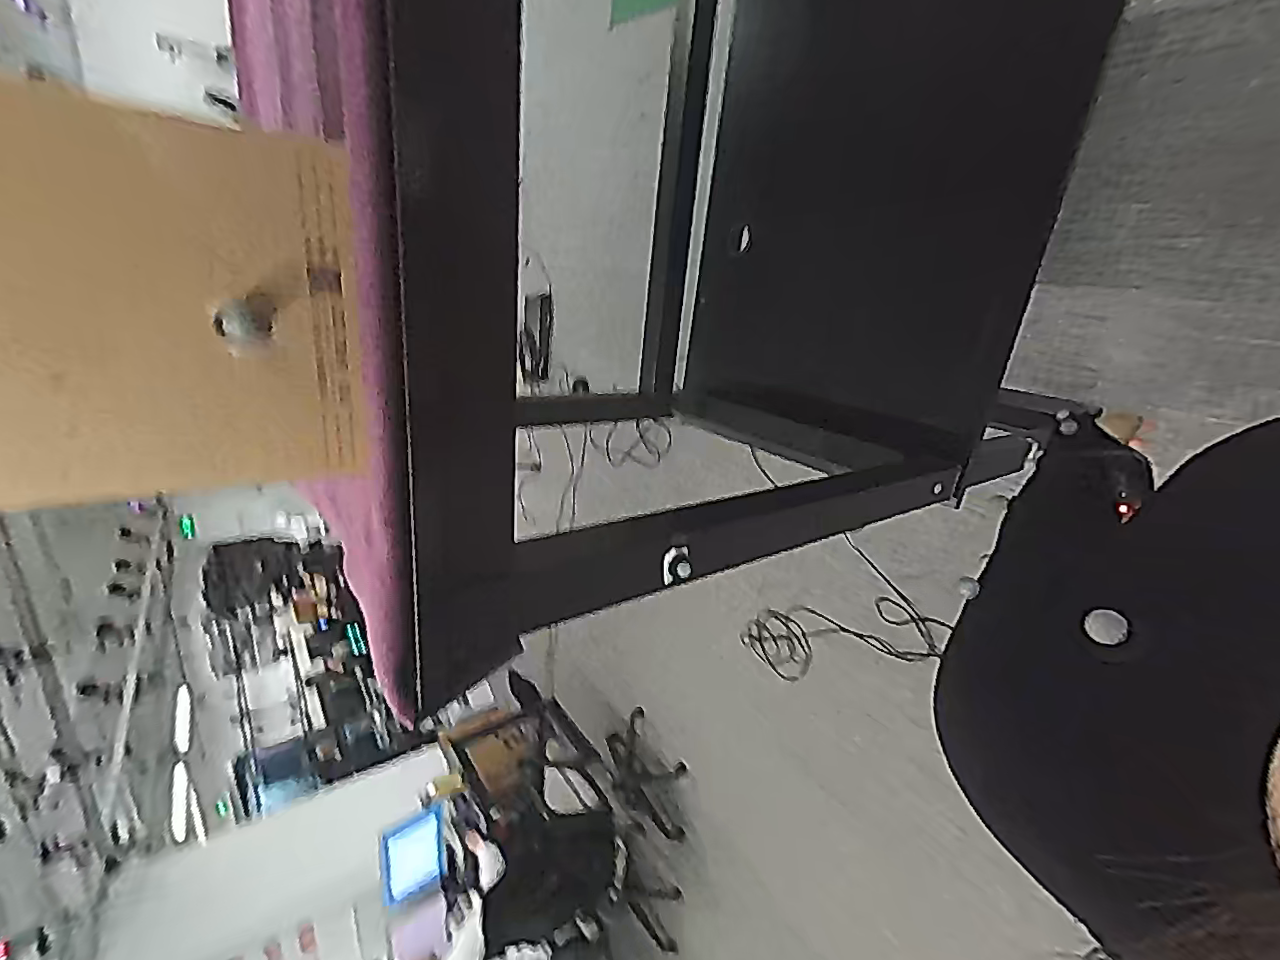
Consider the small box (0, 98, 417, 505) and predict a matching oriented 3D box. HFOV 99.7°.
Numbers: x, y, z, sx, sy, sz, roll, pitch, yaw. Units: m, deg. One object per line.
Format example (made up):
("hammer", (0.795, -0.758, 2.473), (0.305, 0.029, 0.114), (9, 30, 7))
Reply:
("small box", (-0.241, -0.100, 0.324), (0.179, 0.176, 0.168), (30, 122, 49))
